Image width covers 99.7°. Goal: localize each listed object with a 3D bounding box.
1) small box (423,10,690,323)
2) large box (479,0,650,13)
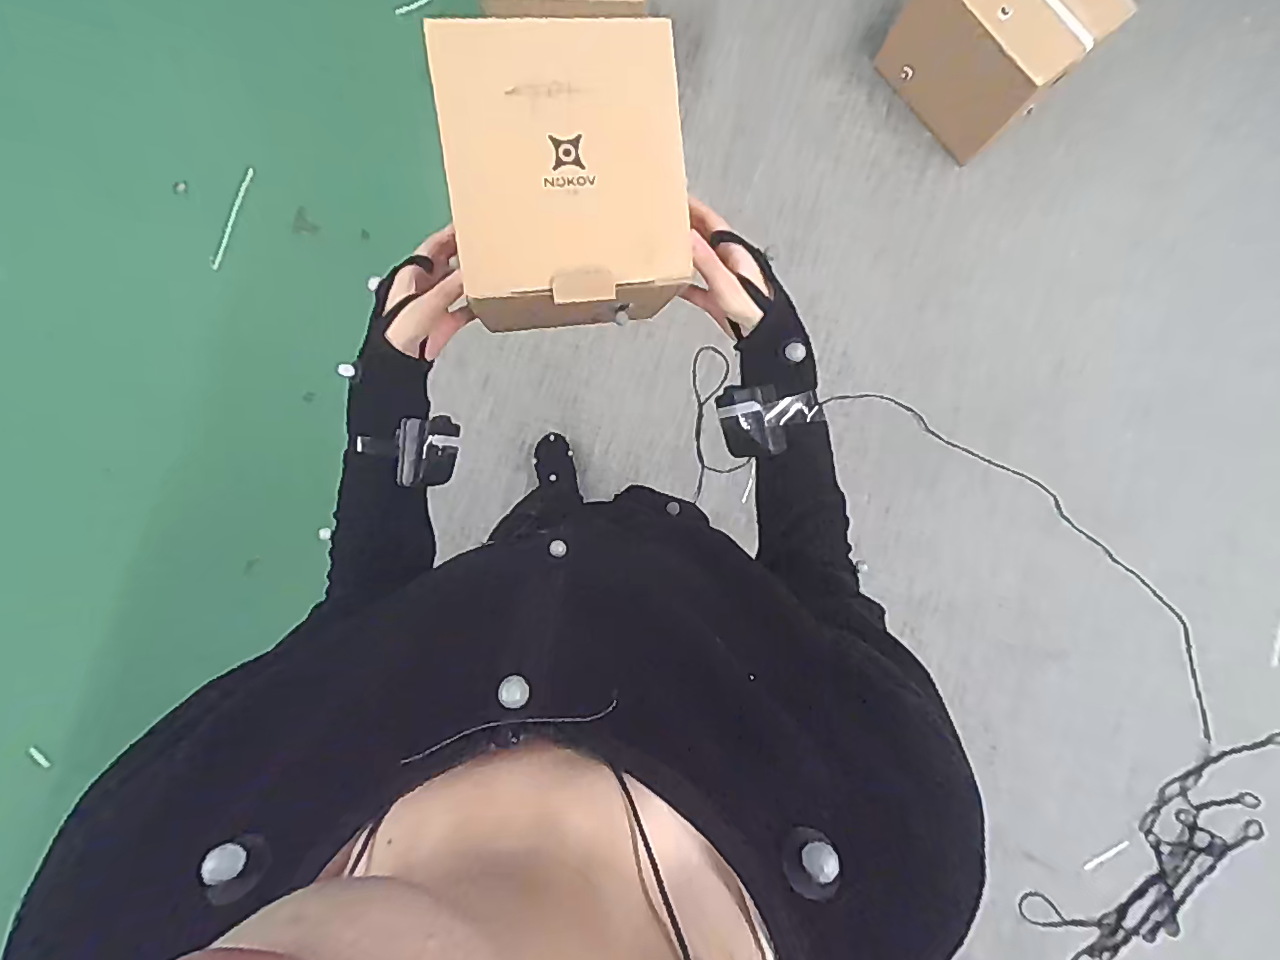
[{"bbox_3d":[-0.063,-0.230,0.443,0.168,0.176,0.179,-7,98,-9],"label":"small box"},{"bbox_3d":[-0.178,-1.260,1.443,0.408,0.320,0.320,3,86,2],"label":"large box"}]
